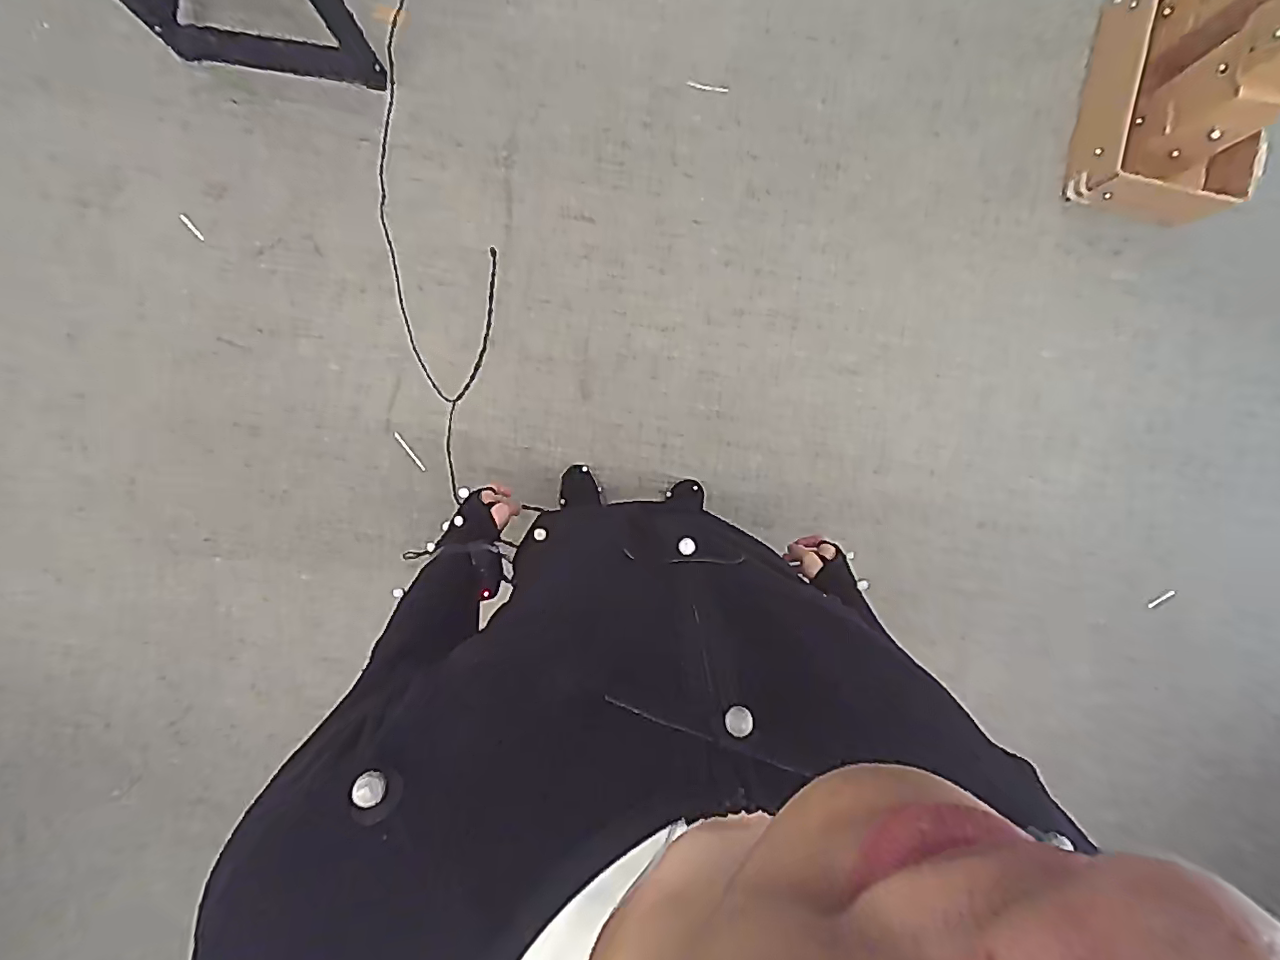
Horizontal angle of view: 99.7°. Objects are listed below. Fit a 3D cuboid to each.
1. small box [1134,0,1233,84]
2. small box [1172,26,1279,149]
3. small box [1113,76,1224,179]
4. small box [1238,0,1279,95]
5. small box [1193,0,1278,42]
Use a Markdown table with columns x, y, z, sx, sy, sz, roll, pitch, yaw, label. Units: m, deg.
| x | y | z | sx | sy | sz | roll | pitch | yaw | label |
| --- | --- | --- | --- | --- | --- | --- | --- | --- | --- |
| 1.562 | -1.262 | 1.528 | 0.179 | 0.176 | 0.168 | 10 | 92 | -2 | small box |
| 1.514 | -0.985 | 1.368 | 0.168 | 0.176 | 0.179 | 8 | 91 | -2 | small box |
| 1.507 | -0.988 | 1.534 | 0.179 | 0.176 | 0.168 | 12 | 91 | -3 | small box |
| 1.516 | -0.999 | 1.205 | 0.179 | 0.176 | 0.168 | 13 | 91 | -3 | small box |
| 1.565 | -1.256 | 1.362 | 0.168 | 0.176 | 0.179 | 10 | 93 | -4 | small box |
